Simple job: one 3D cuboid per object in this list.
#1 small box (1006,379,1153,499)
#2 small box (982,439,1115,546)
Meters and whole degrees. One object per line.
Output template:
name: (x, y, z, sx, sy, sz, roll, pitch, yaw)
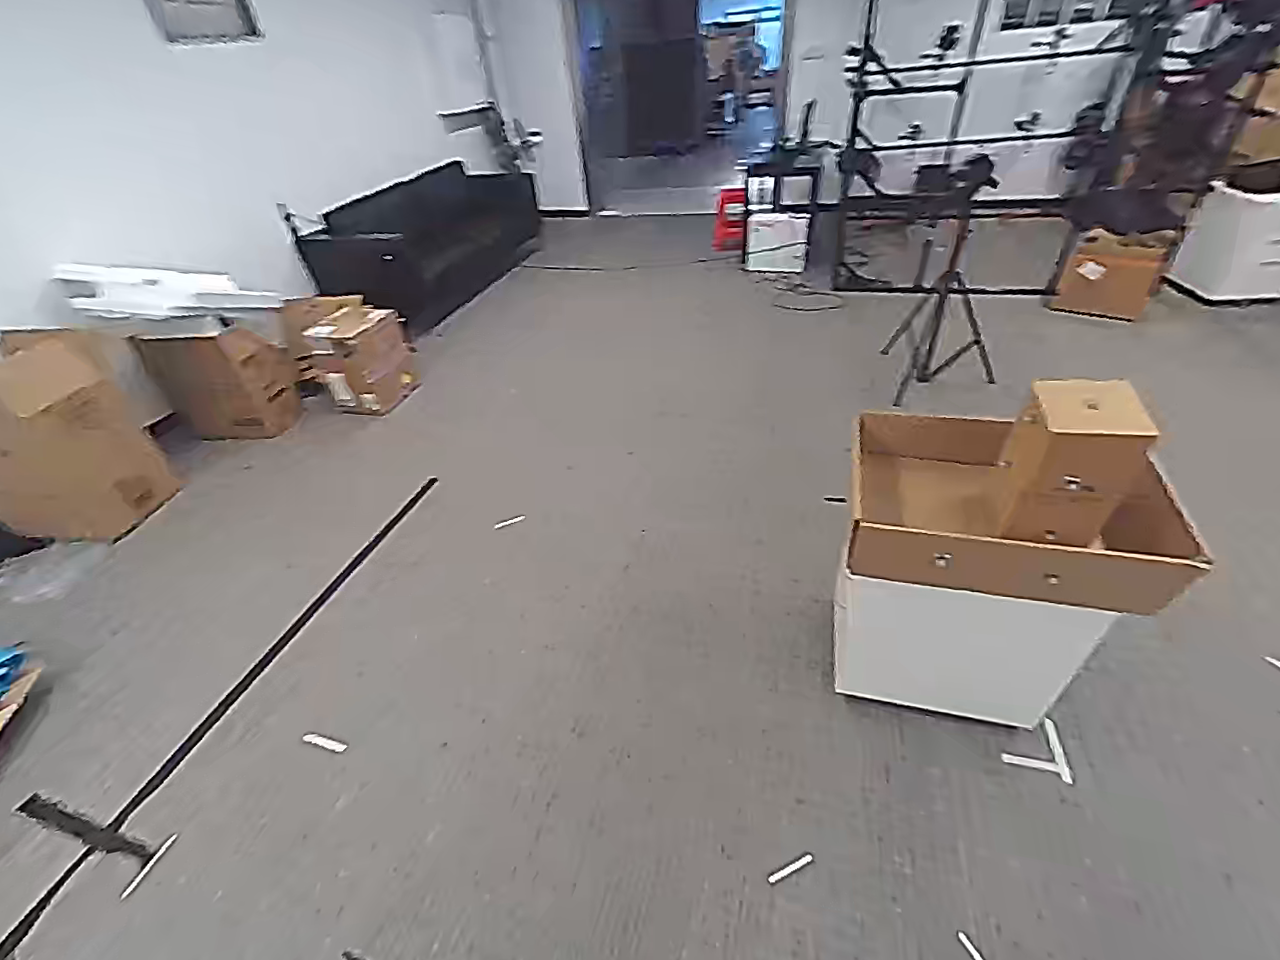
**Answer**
small box: (0.867, -0.085, 1.090, 0.168, 0.176, 0.179, 3, 45, 18)
small box: (0.895, 0.028, 1.205, 0.179, 0.176, 0.168, 5, 45, 17)
